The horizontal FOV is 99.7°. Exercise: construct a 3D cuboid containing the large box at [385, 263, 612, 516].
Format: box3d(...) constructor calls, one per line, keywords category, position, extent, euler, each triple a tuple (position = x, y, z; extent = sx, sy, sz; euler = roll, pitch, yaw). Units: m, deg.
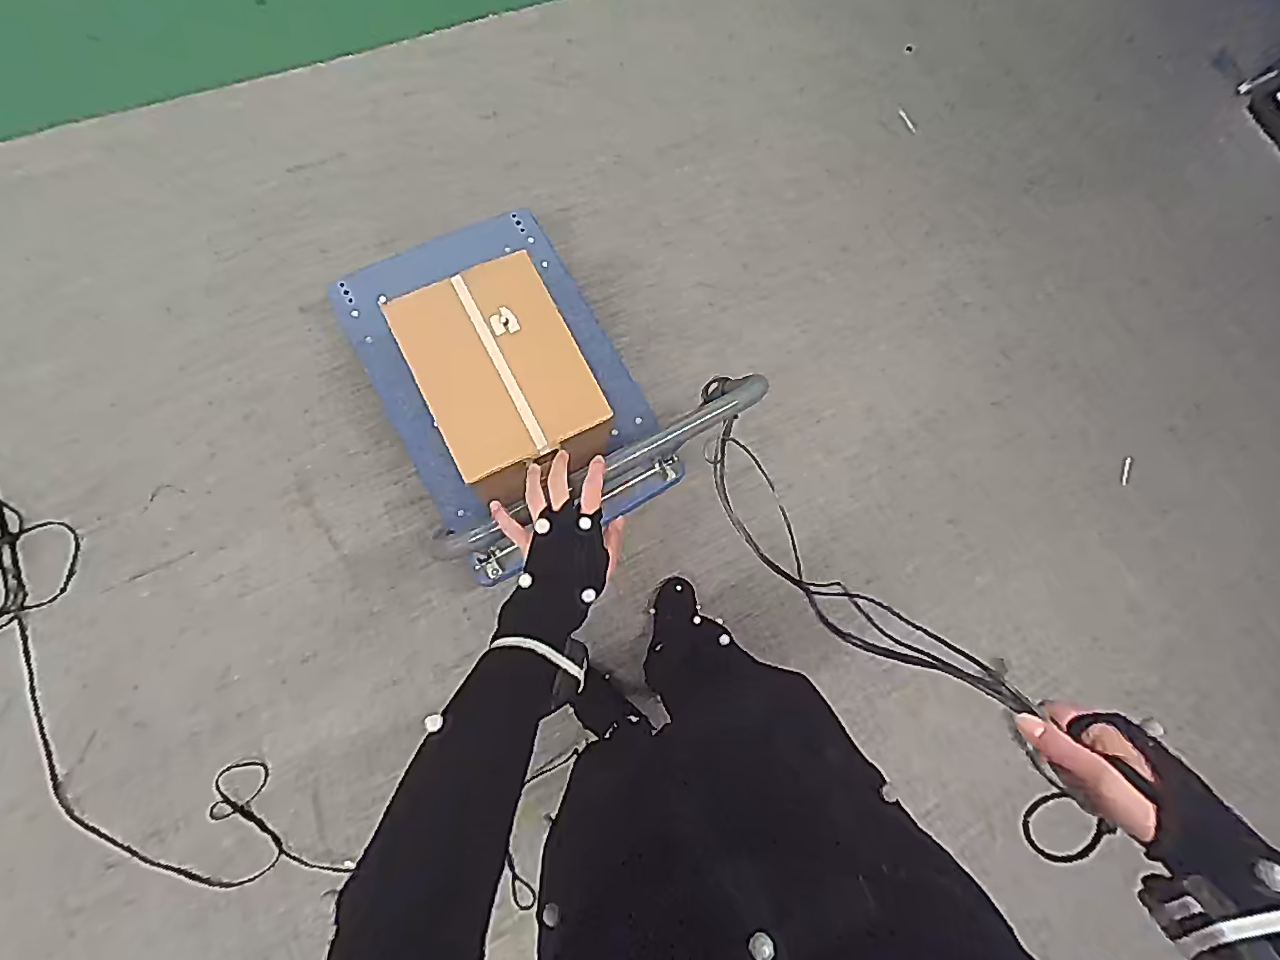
box3d(category="large box", position=(-0.292, -0.182, 1.208), extent=(0.320, 0.320, 0.408), euler=(-27, 81, -12))
